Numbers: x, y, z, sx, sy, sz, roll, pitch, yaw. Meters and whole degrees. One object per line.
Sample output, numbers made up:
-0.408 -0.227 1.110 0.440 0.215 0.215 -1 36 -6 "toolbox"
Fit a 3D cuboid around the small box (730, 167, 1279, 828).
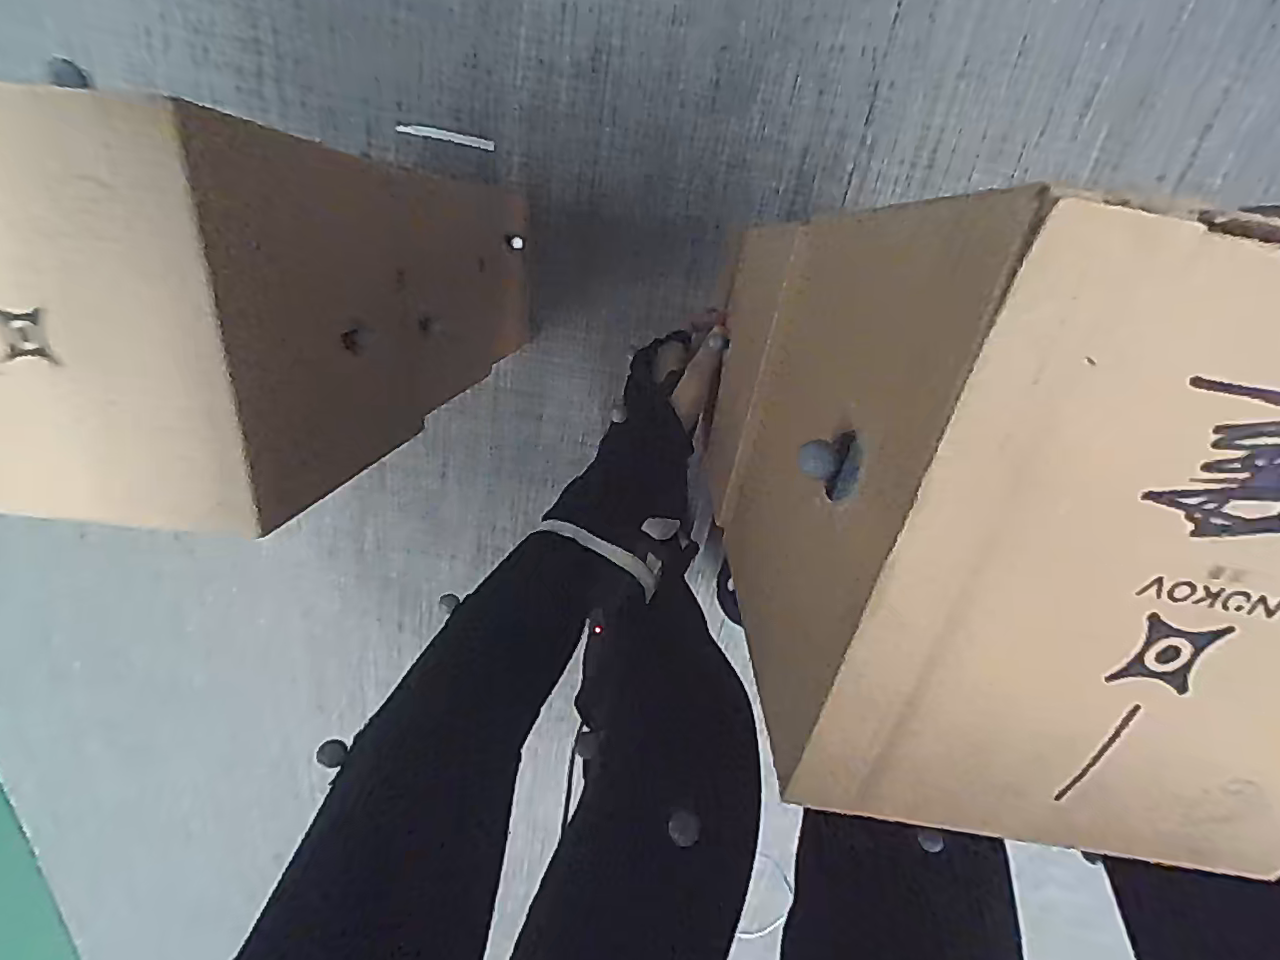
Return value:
0.140 -0.005 0.221 0.168 0.176 0.179 10 114 -2 "small box"
